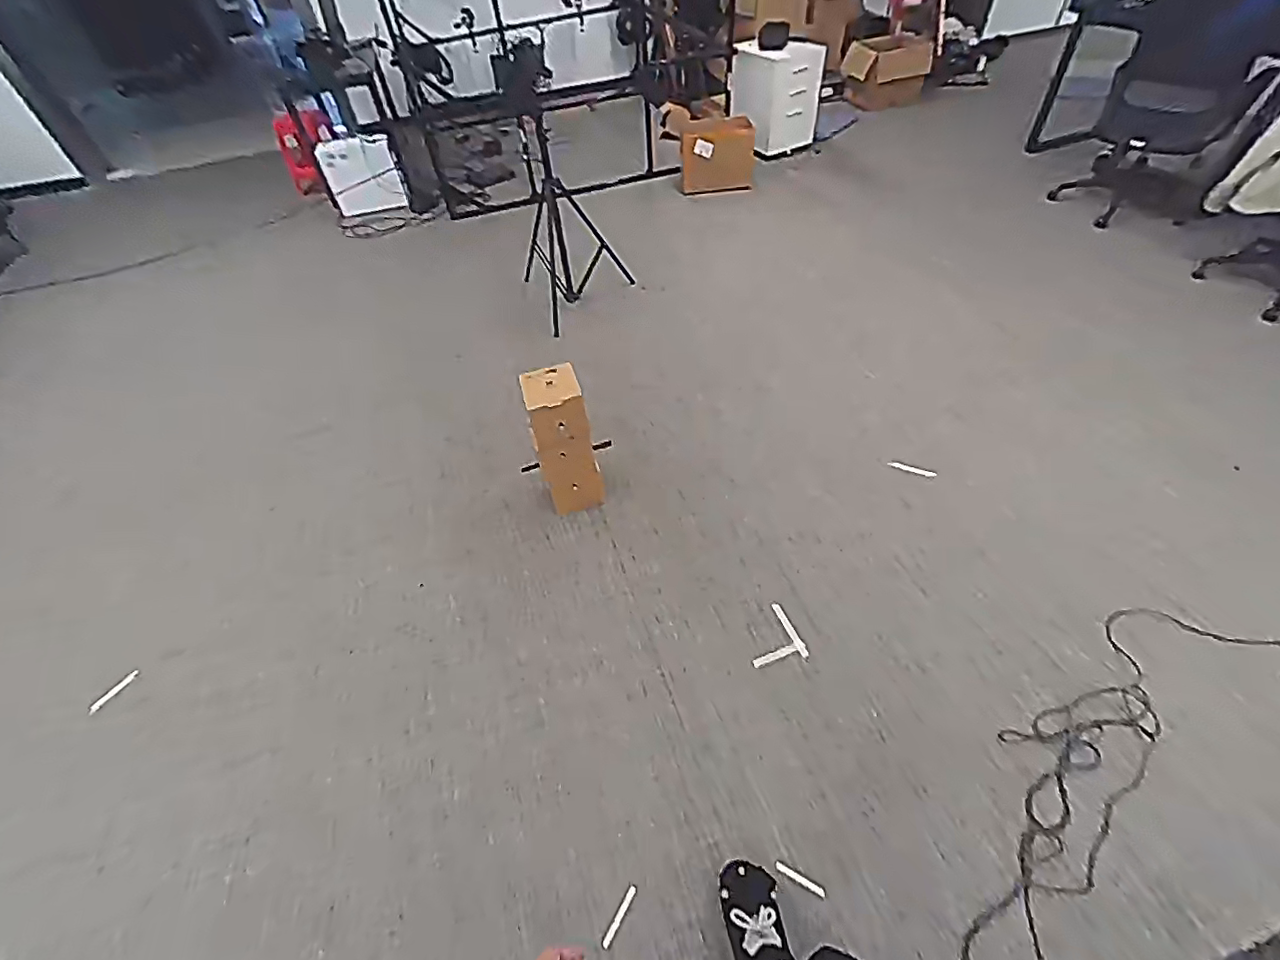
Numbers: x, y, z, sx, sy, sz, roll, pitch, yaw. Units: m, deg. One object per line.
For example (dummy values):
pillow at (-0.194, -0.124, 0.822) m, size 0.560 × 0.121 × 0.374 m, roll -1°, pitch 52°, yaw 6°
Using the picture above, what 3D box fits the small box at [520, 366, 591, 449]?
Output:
small box at (-0.254, -0.214, 1.649) m, size 0.168 × 0.176 × 0.179 m, roll -16°, pitch 50°, yaw -7°

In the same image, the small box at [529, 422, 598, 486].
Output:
small box at (-0.248, -0.102, 1.769) m, size 0.179 × 0.176 × 0.168 m, roll -15°, pitch 50°, yaw -7°

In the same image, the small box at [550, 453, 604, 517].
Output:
small box at (-0.229, 0.001, 1.895) m, size 0.179 × 0.176 × 0.168 m, roll -17°, pitch 50°, yaw -9°
